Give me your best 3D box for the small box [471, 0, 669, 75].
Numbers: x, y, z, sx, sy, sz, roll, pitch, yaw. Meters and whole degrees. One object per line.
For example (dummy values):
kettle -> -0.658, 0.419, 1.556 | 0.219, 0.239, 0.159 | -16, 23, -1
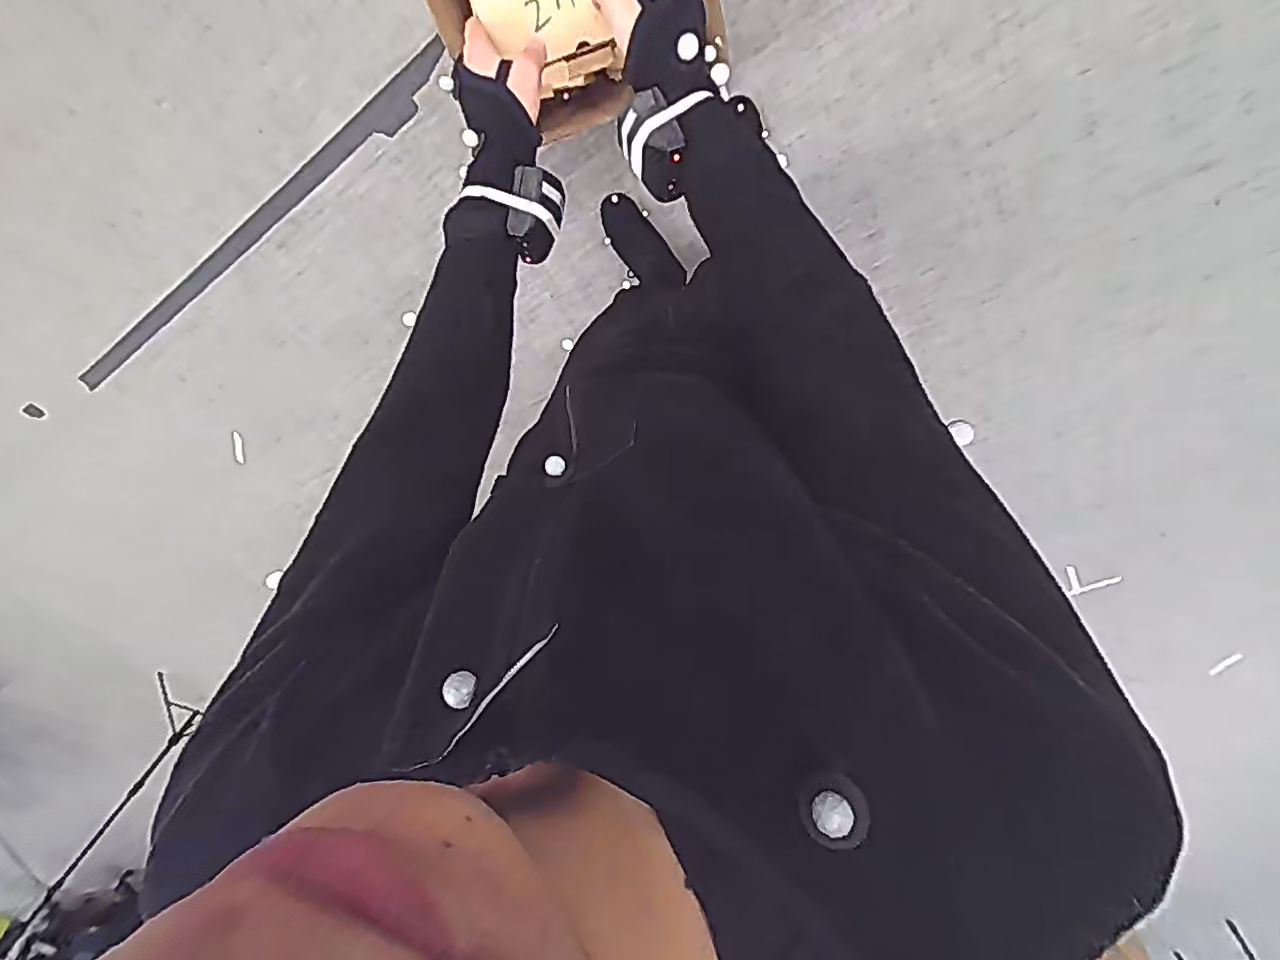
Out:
small box -> -0.074, -0.503, 0.495 | 0.168, 0.176, 0.179 | -12, 129, 11
